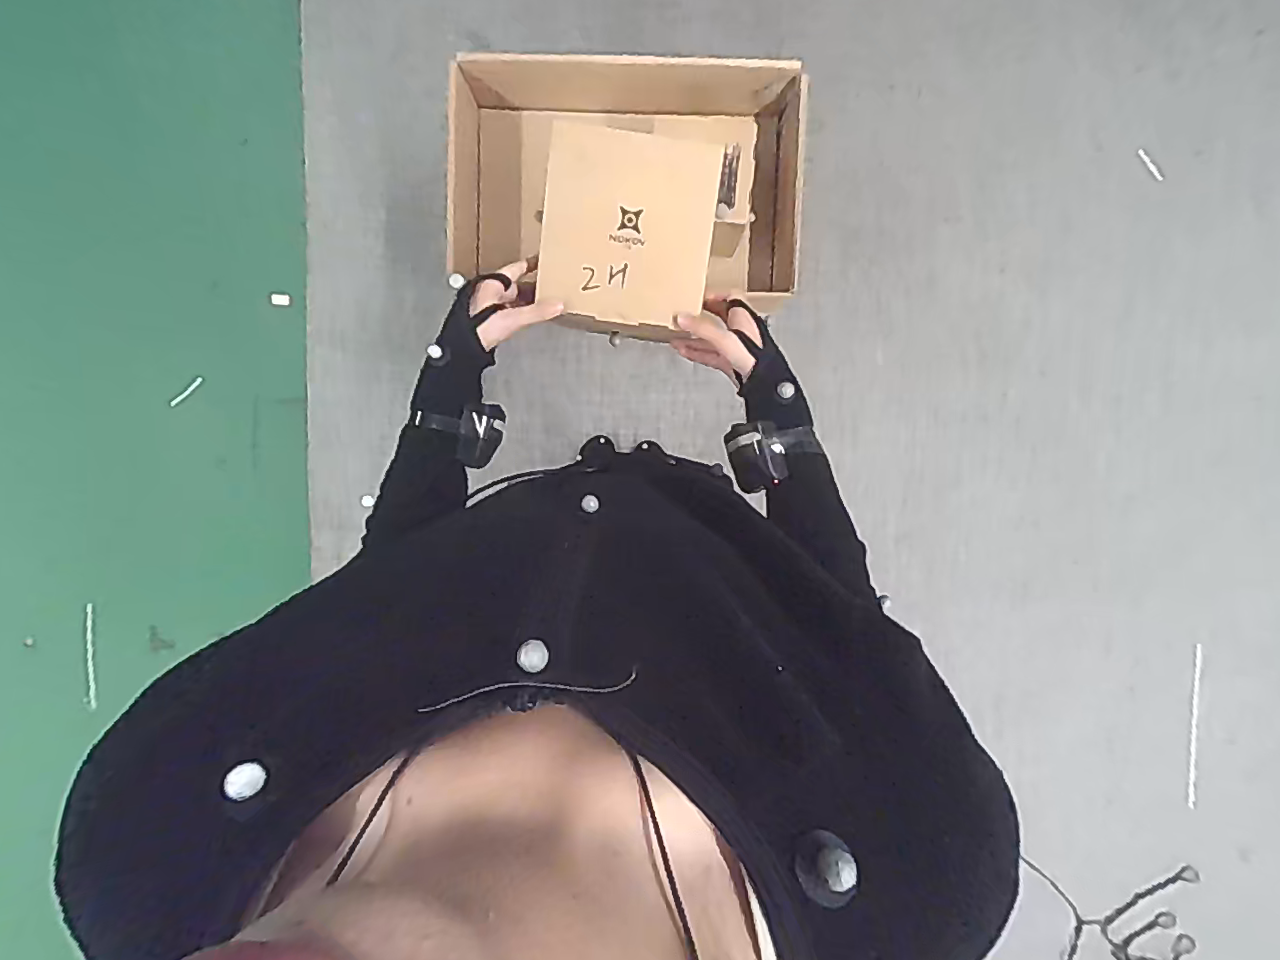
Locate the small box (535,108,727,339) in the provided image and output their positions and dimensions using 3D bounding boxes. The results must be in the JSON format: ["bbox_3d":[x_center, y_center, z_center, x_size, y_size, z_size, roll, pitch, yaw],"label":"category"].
[{"bbox_3d":[-0.013,-0.260,0.593,0.168,0.176,0.179,8,100,-3],"label":"small box"}]
